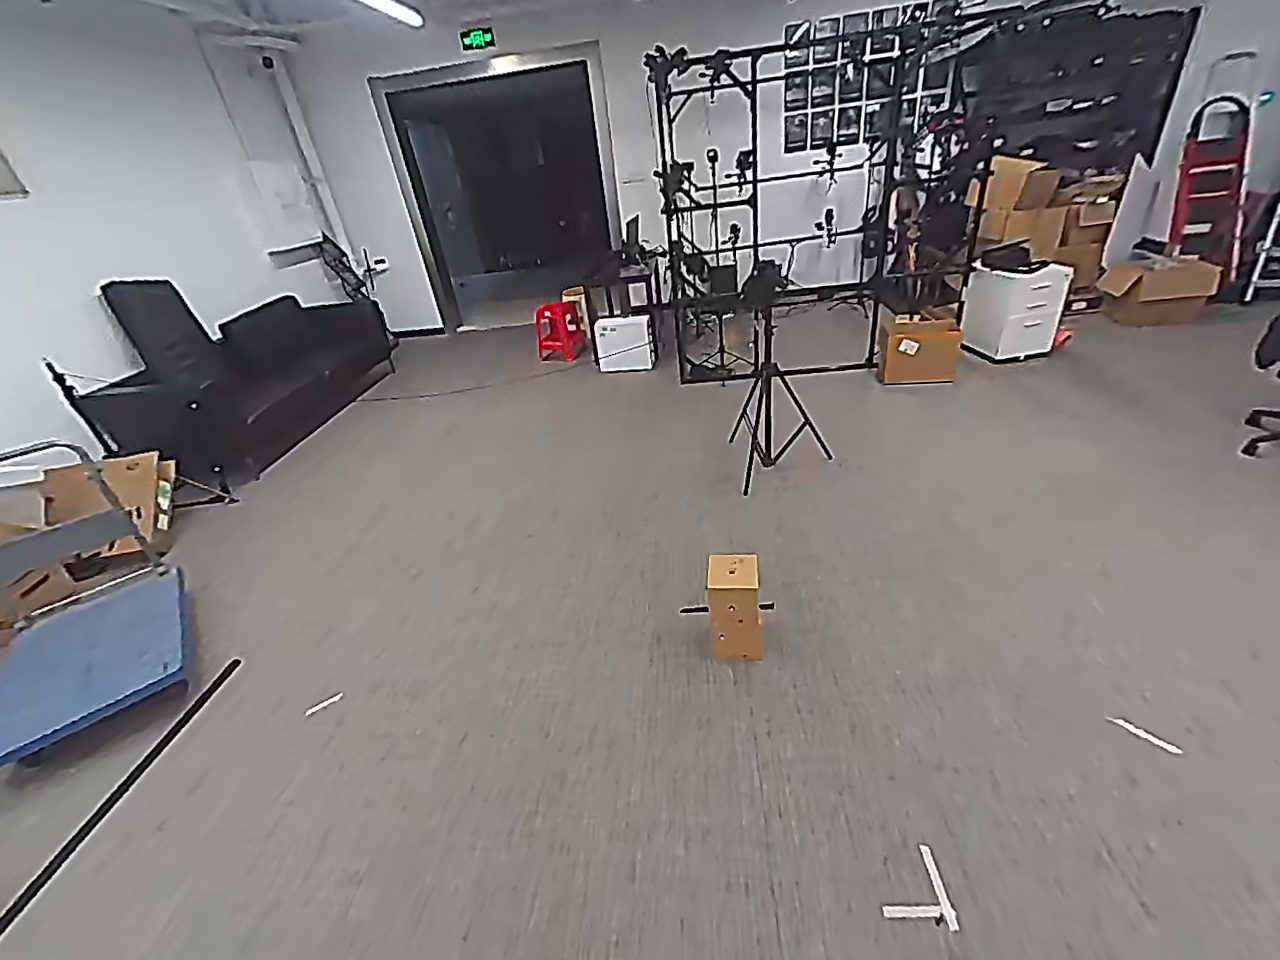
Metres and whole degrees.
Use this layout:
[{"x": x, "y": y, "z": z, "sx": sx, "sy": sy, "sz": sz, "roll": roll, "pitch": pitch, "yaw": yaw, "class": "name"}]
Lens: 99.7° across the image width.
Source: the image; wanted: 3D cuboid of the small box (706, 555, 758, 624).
[{"x": 0.320, "y": 0.376, "z": 1.860, "sx": 0.168, "sy": 0.176, "sz": 0.179, "roll": -1, "pitch": 30, "yaw": 11, "class": "small box"}]
